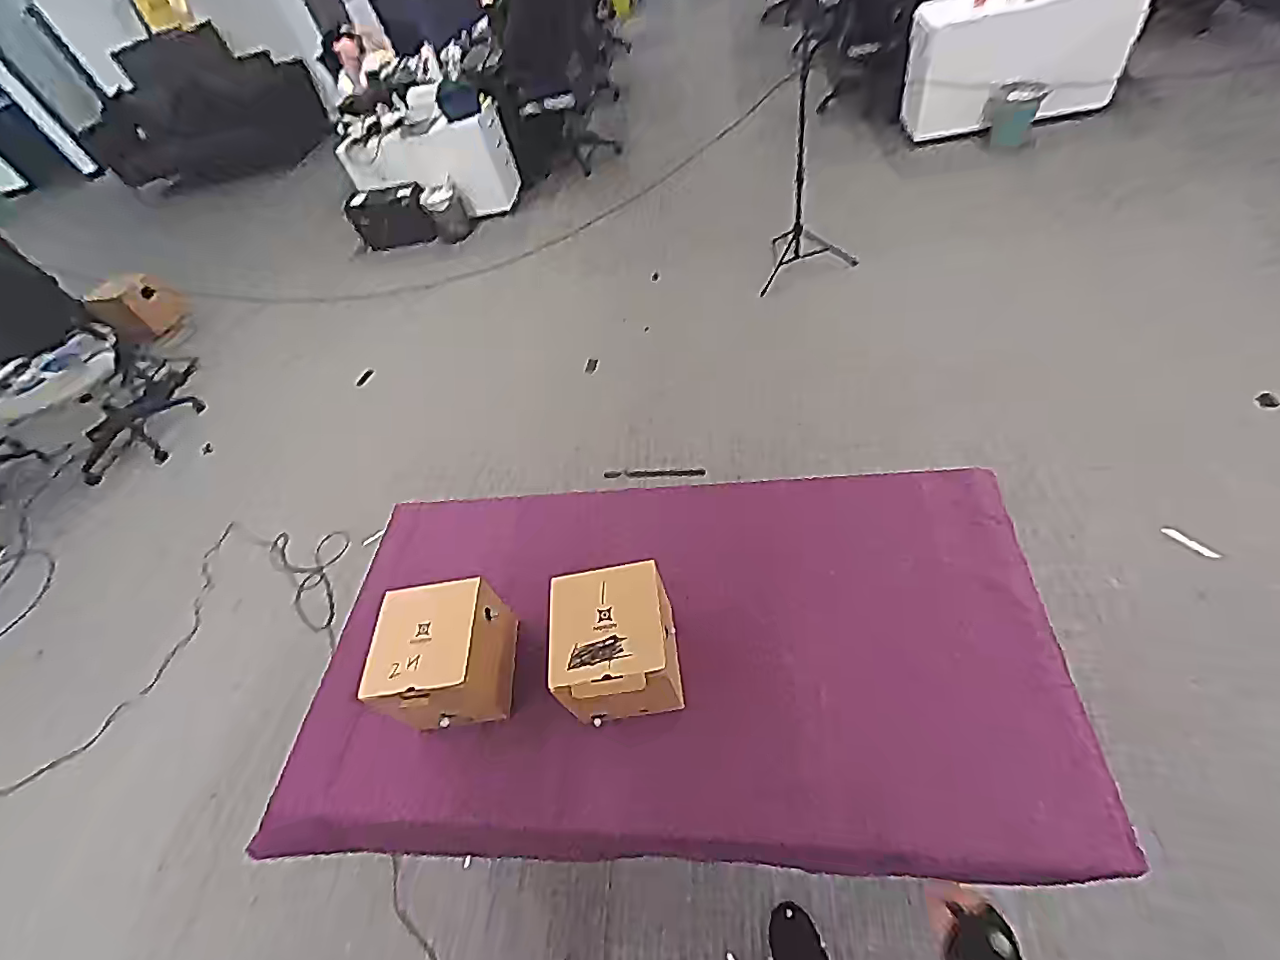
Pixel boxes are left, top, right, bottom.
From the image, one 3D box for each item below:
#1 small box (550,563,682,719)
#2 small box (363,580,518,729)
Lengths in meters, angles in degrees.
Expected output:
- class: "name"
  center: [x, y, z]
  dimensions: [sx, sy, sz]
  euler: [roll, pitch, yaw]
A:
- class: "small box"
  center: [-0.033, 0.257, 0.841]
  dimensions: [0.168, 0.176, 0.179]
  euler: [-11, 49, 5]
- class: "small box"
  center: [-0.311, 0.288, 0.886]
  dimensions: [0.168, 0.176, 0.179]
  euler: [-10, 50, 7]
